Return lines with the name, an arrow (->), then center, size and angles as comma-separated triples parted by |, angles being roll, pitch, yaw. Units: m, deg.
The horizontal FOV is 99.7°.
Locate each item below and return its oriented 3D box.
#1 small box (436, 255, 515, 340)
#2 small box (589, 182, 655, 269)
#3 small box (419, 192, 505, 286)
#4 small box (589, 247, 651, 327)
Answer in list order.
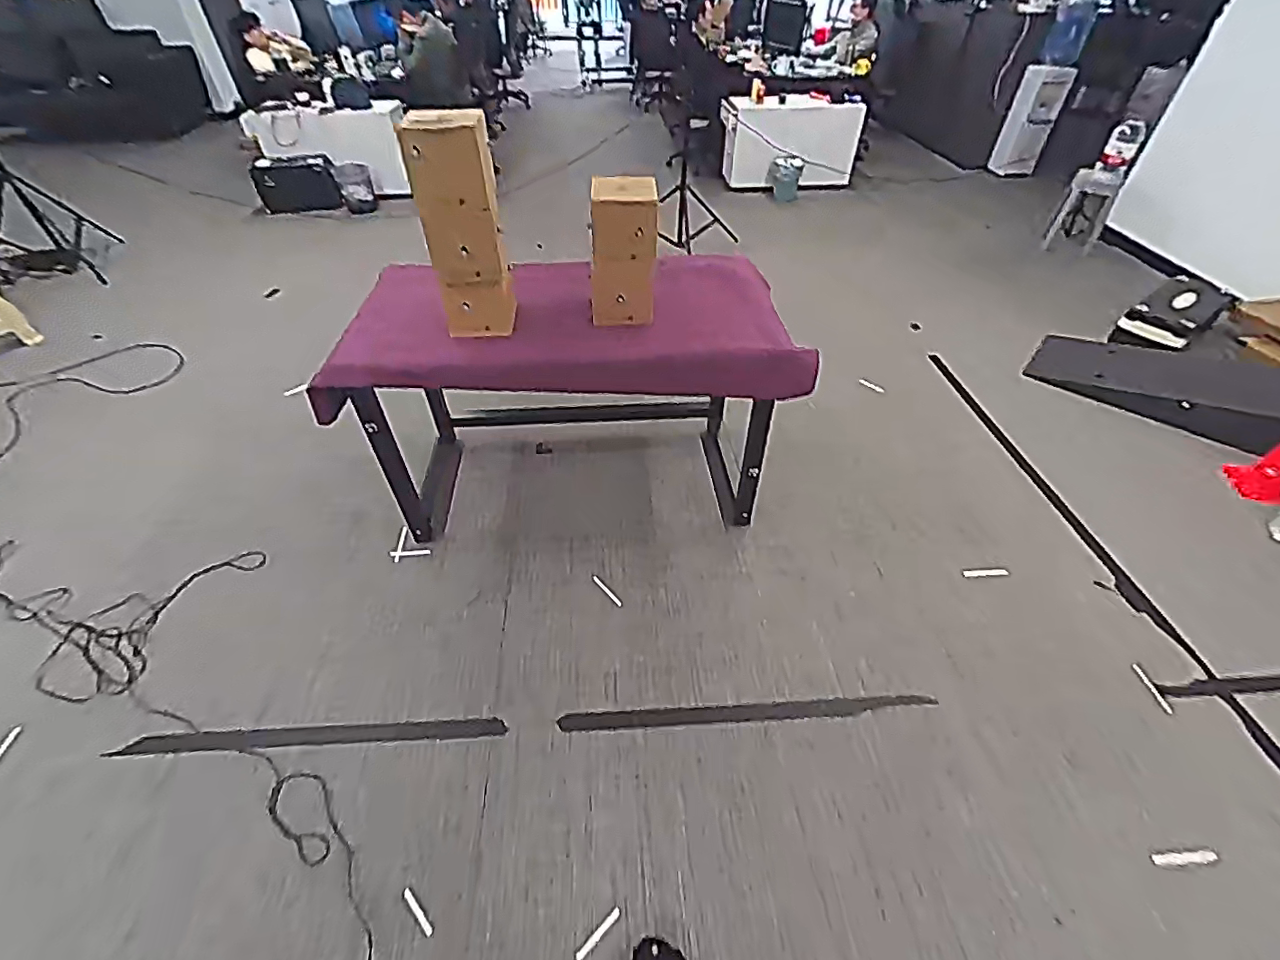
small box -> -0.442, -0.496, 1.483 | 0.168, 0.176, 0.179 | -3, 44, -3
small box -> -0.045, -0.664, 1.418 | 0.168, 0.176, 0.179 | -1, 44, -3
small box -> -0.436, -0.598, 1.353 | 0.168, 0.176, 0.179 | -7, 45, -7
small box -> -0.057, -0.545, 1.529 | 0.168, 0.176, 0.179 | -3, 44, -3
